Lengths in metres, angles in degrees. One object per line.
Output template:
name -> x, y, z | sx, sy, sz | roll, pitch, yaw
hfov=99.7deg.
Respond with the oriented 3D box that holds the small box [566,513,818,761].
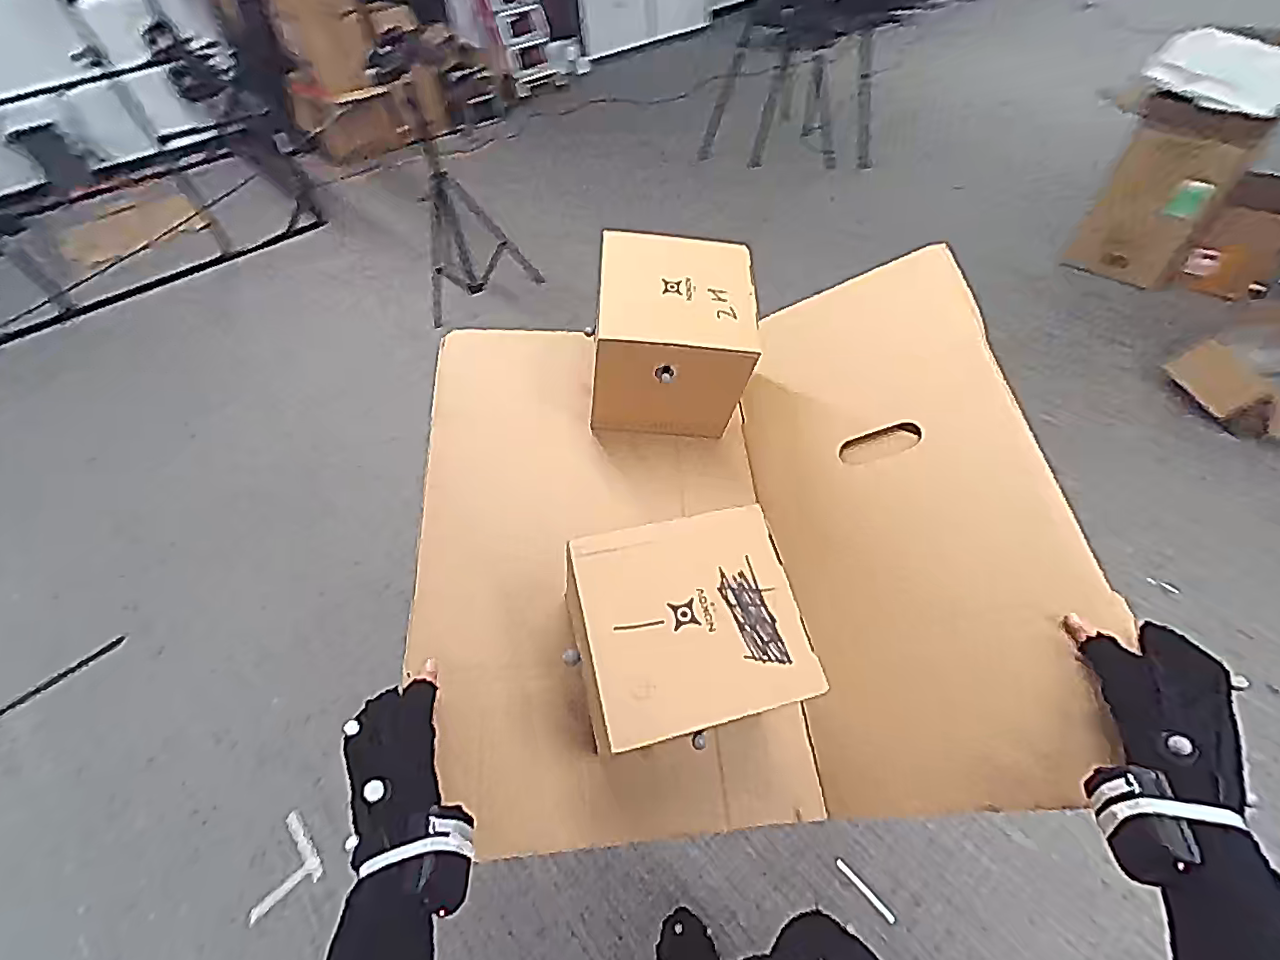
small box -> 0.030, 0.151, 0.510 | 0.179, 0.176, 0.168 | -11, 65, -13
